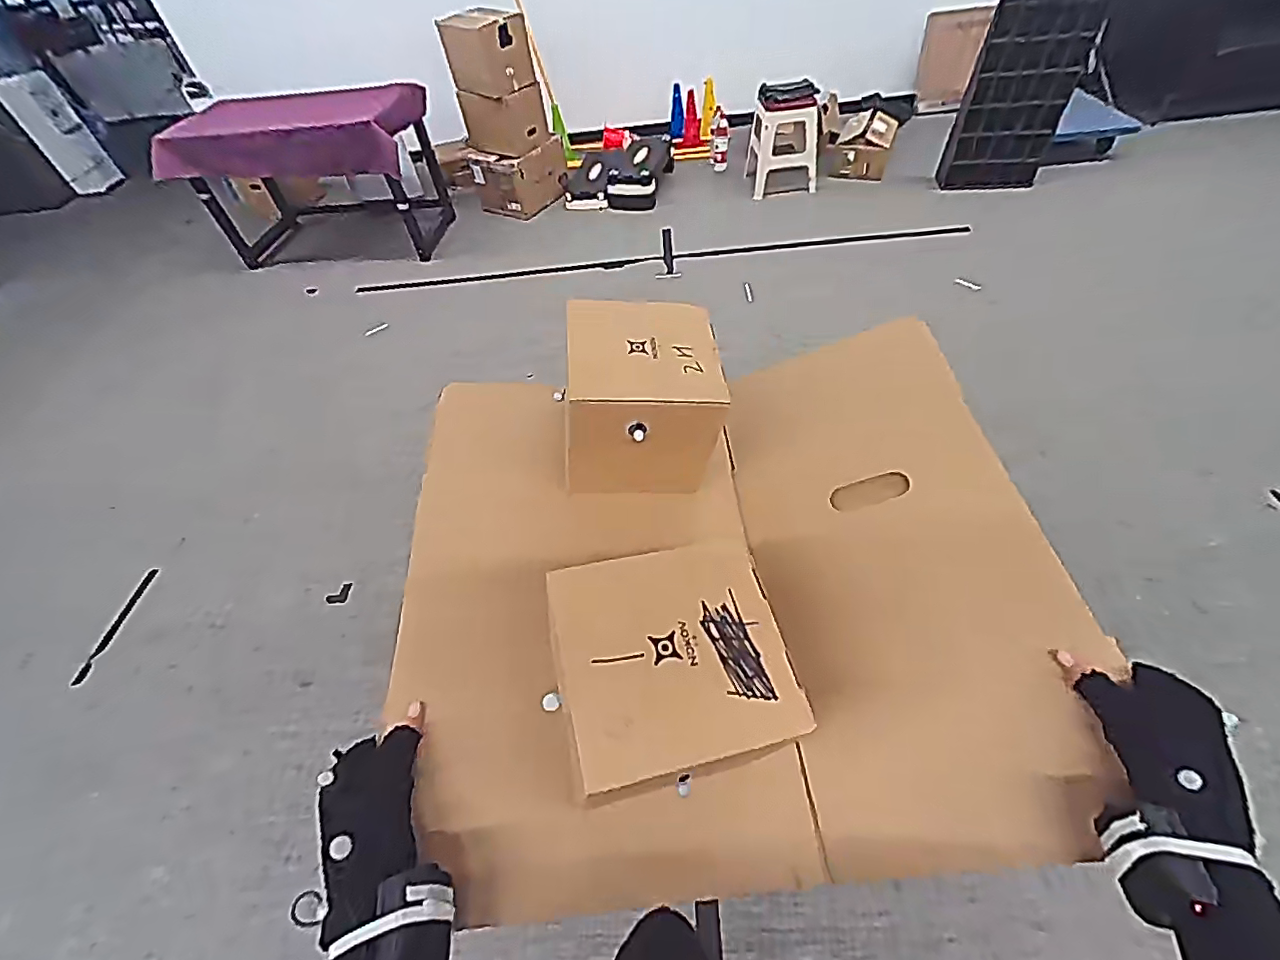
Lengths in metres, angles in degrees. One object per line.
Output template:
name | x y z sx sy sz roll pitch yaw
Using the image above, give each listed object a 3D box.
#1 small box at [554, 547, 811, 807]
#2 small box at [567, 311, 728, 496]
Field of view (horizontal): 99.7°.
small box | 0.019 0.182 0.493 0.179 0.176 0.168 -9 57 -13
small box | -0.004 -0.090 0.683 0.179 0.176 0.168 0 55 -9
